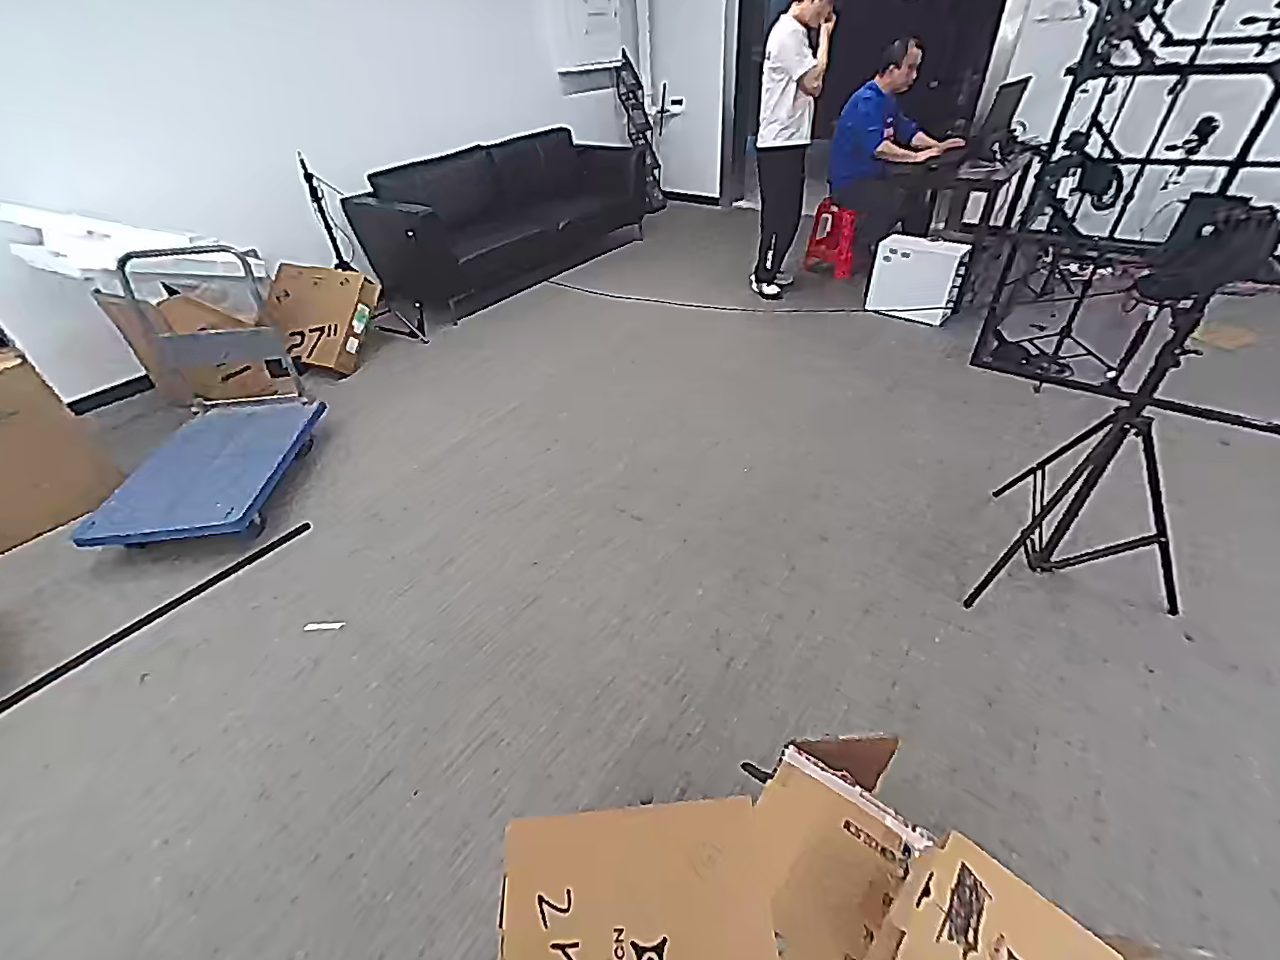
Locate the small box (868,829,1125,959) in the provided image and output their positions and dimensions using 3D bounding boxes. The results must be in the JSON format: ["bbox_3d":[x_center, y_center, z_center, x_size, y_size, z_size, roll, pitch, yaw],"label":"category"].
[{"bbox_3d":[0.382,0.551,0.609,0.179,0.176,0.168,31,53,32],"label":"small box"}]

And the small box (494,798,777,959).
[{"bbox_3d":[0.002,0.339,0.393,0.179,0.176,0.168,-7,54,1],"label":"small box"}]
